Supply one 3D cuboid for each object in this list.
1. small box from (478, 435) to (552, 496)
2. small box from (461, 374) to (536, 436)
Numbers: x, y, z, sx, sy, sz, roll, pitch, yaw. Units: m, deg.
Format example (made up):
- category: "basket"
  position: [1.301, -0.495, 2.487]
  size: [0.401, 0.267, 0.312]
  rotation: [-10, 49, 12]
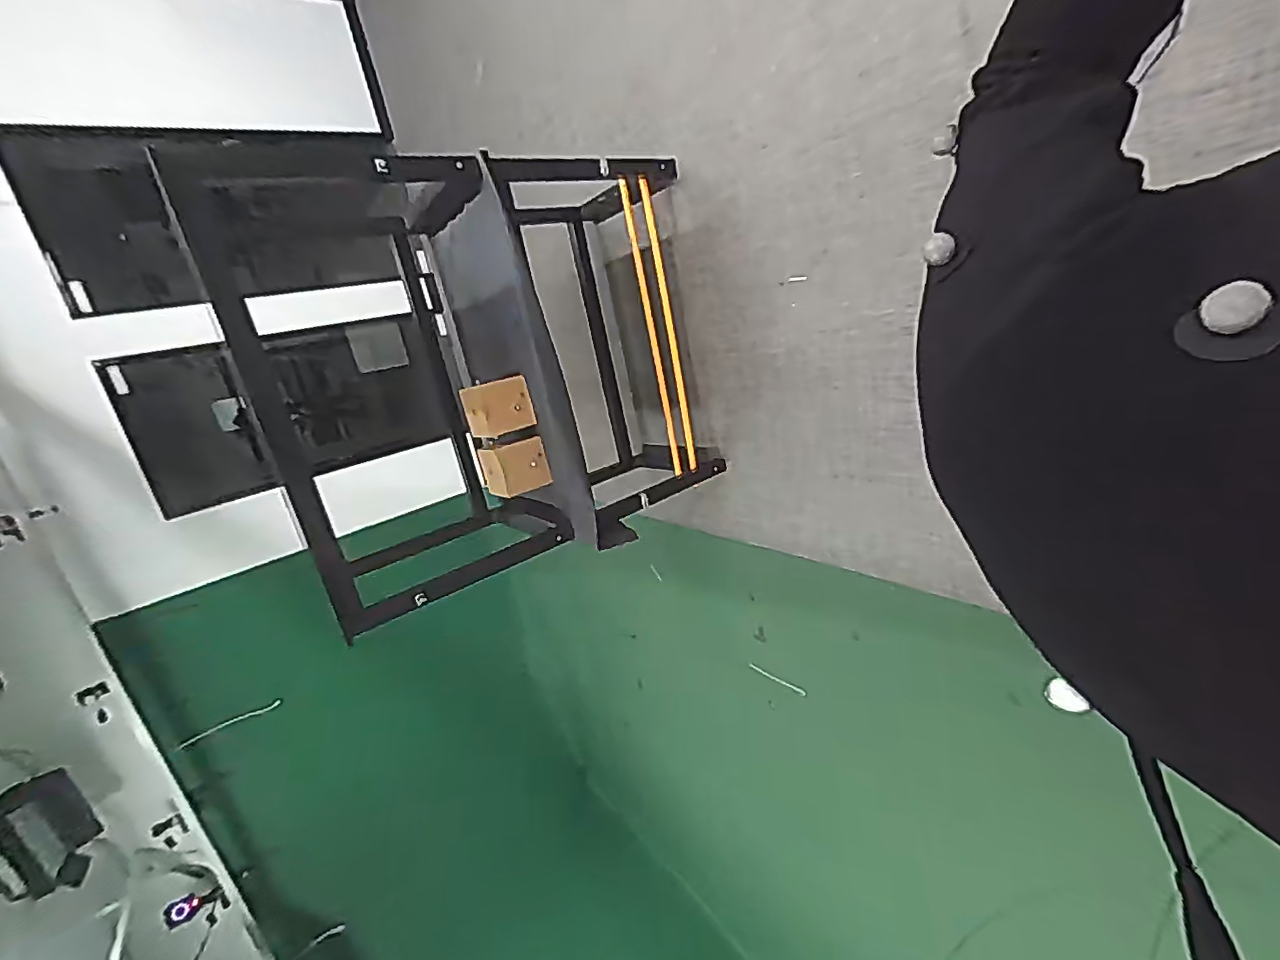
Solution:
- category: "small box"
  position: [-0.424, -0.054, 1.841]
  size: [0.179, 0.176, 0.168]
  rotation: [5, 113, 54]
- category: "small box"
  position: [-0.468, -0.248, 1.797]
  size: [0.179, 0.176, 0.168]
  rotation: [6, 114, 54]
